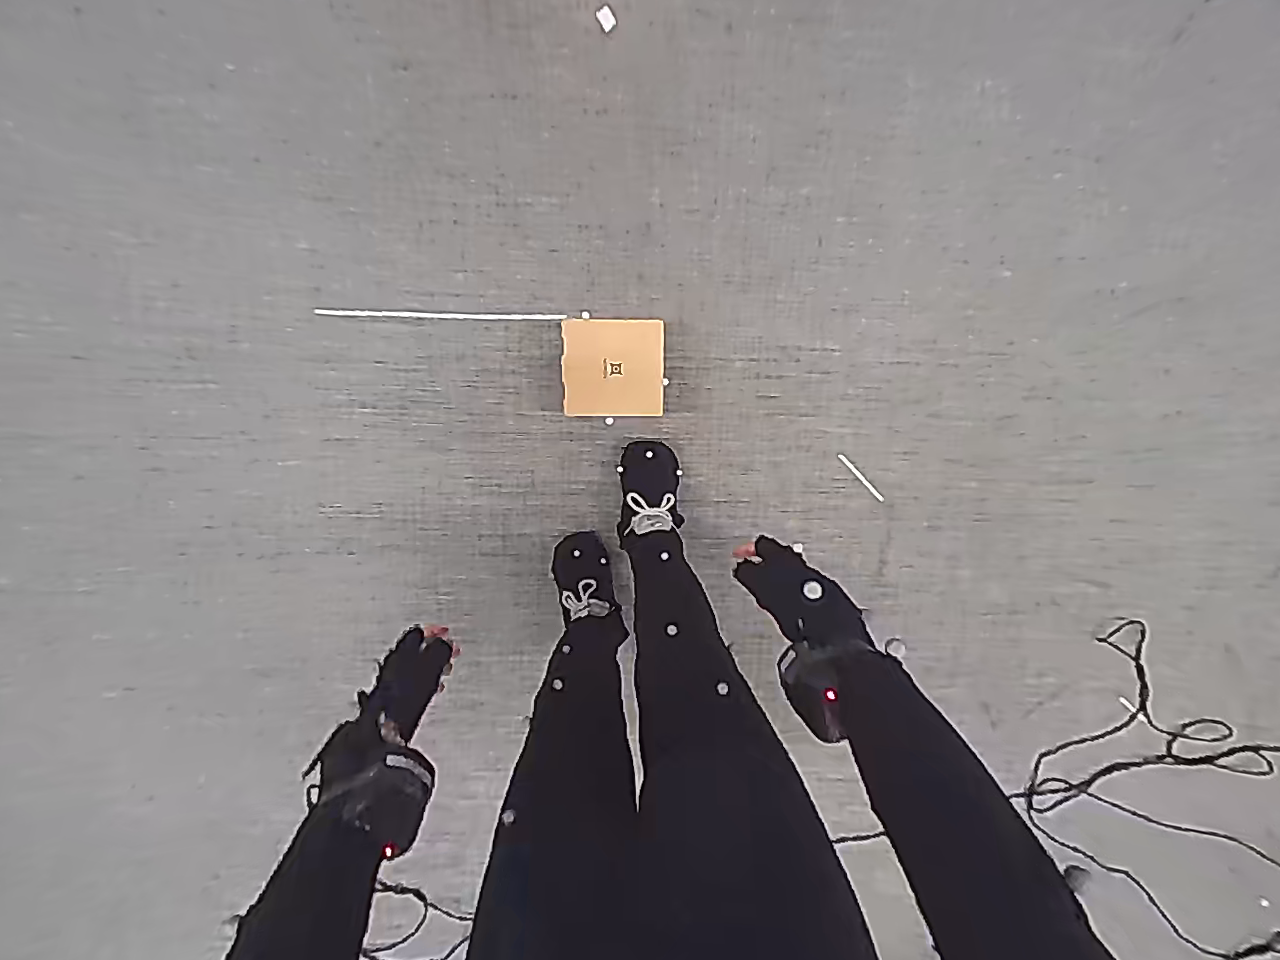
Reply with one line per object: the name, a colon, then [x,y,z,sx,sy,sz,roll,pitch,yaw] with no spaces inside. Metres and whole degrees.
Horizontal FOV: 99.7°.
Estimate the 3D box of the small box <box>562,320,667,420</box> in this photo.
small box: [-0.046,-0.200,0.987,0.179,0.176,0.168,0,101,-1]
